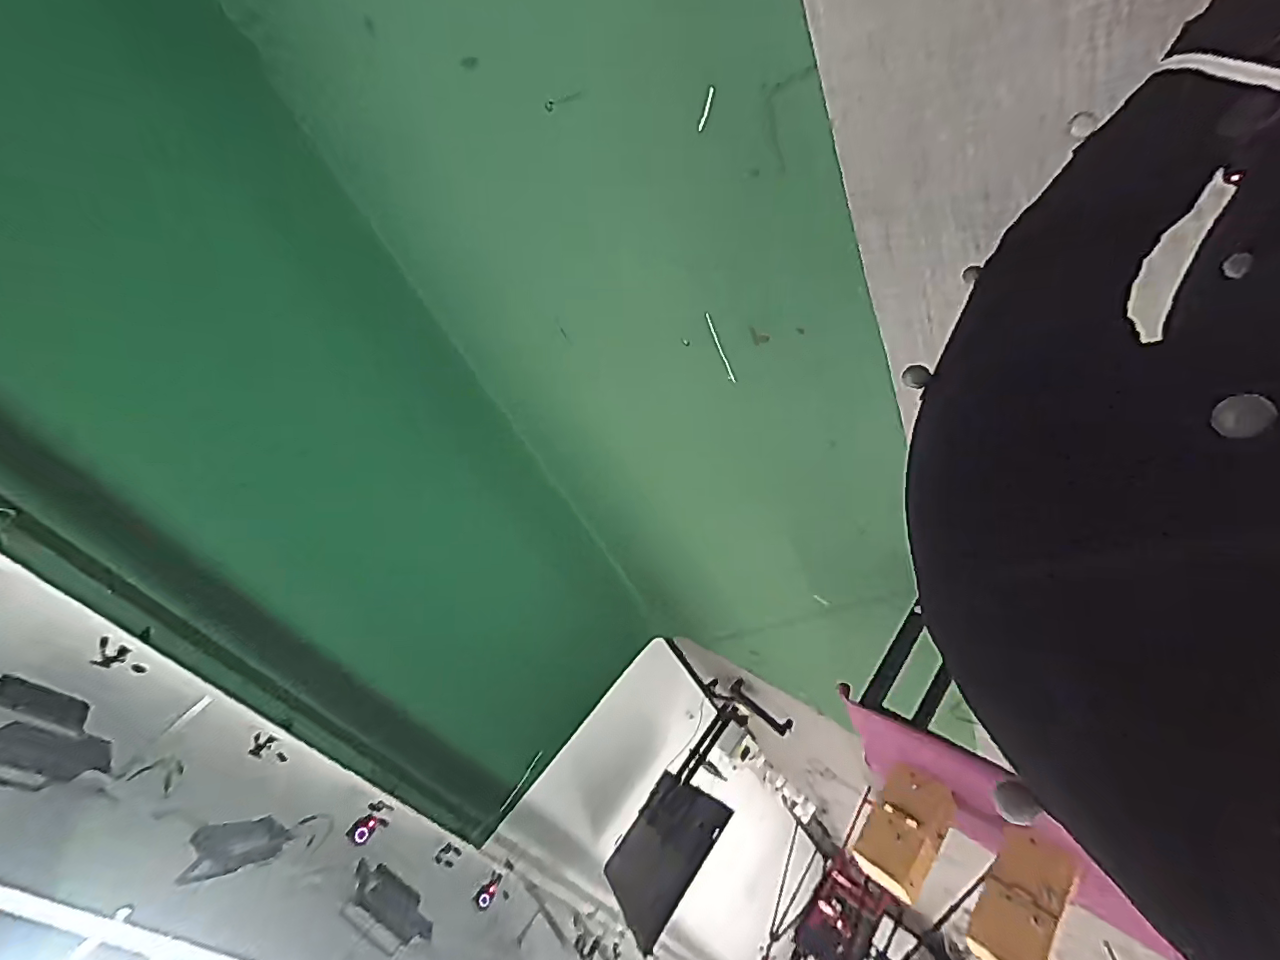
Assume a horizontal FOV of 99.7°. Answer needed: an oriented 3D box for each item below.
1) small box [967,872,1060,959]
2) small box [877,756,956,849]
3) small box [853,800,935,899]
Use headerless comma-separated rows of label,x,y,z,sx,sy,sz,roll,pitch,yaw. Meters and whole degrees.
small box,1.011,1.212,1.462,0.168,0.176,0.179,16,146,48
small box,0.910,1.050,1.769,0.168,0.176,0.179,12,142,49
small box,0.808,1.162,1.710,0.168,0.176,0.179,13,142,49
